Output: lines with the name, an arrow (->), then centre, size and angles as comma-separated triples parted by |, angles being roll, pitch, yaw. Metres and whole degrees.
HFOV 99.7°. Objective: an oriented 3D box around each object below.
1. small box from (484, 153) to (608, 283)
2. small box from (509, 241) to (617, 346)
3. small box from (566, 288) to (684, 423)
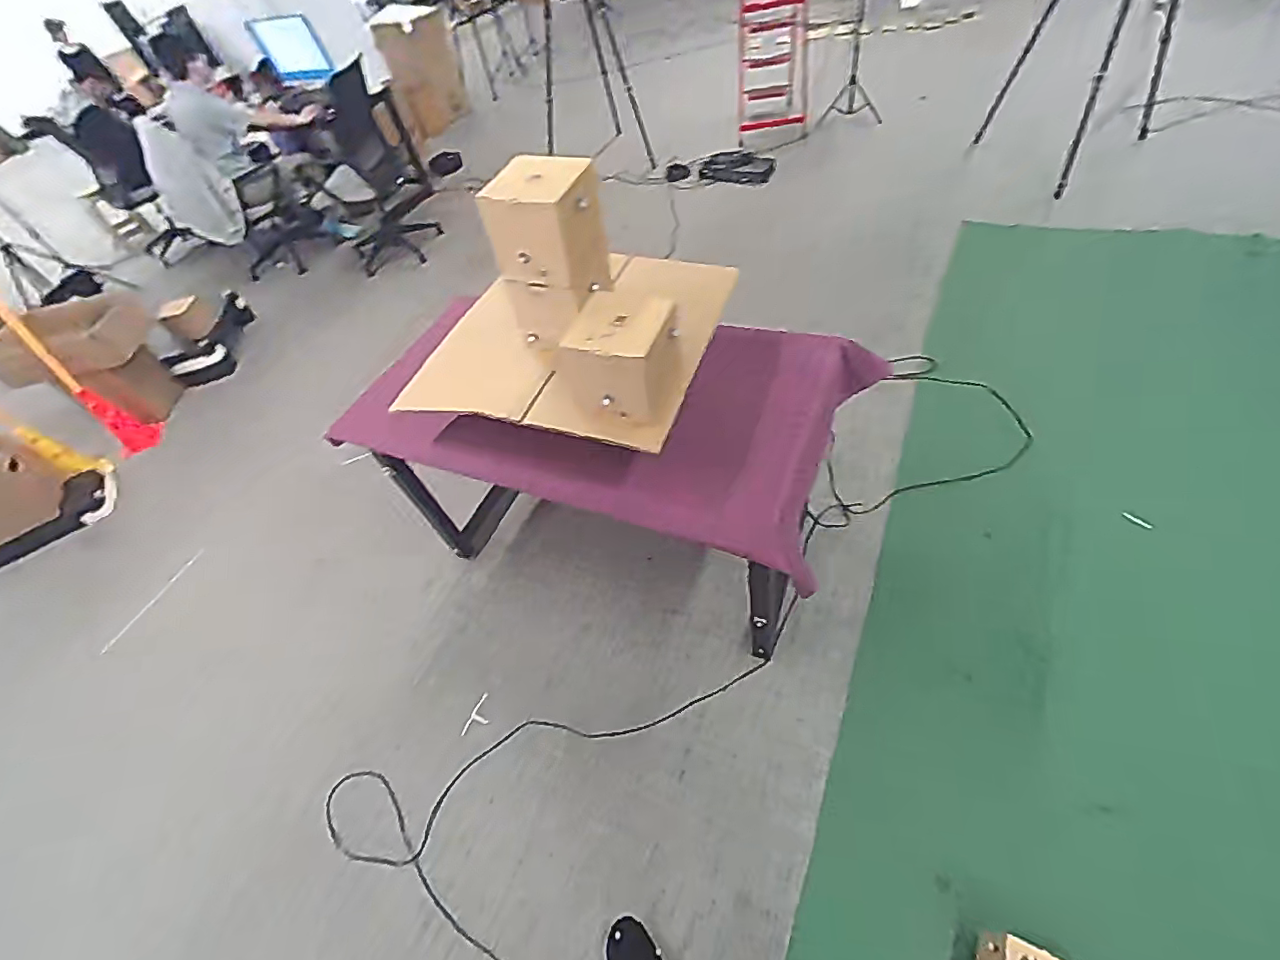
small box -> -0.172, -0.513, 1.064 | 0.168, 0.176, 0.179 | 13, 57, 17
small box -> -0.155, -0.409, 1.187 | 0.168, 0.176, 0.179 | 14, 55, 17
small box -> -0.018, -0.239, 1.036 | 0.168, 0.176, 0.179 | 14, 56, 19
